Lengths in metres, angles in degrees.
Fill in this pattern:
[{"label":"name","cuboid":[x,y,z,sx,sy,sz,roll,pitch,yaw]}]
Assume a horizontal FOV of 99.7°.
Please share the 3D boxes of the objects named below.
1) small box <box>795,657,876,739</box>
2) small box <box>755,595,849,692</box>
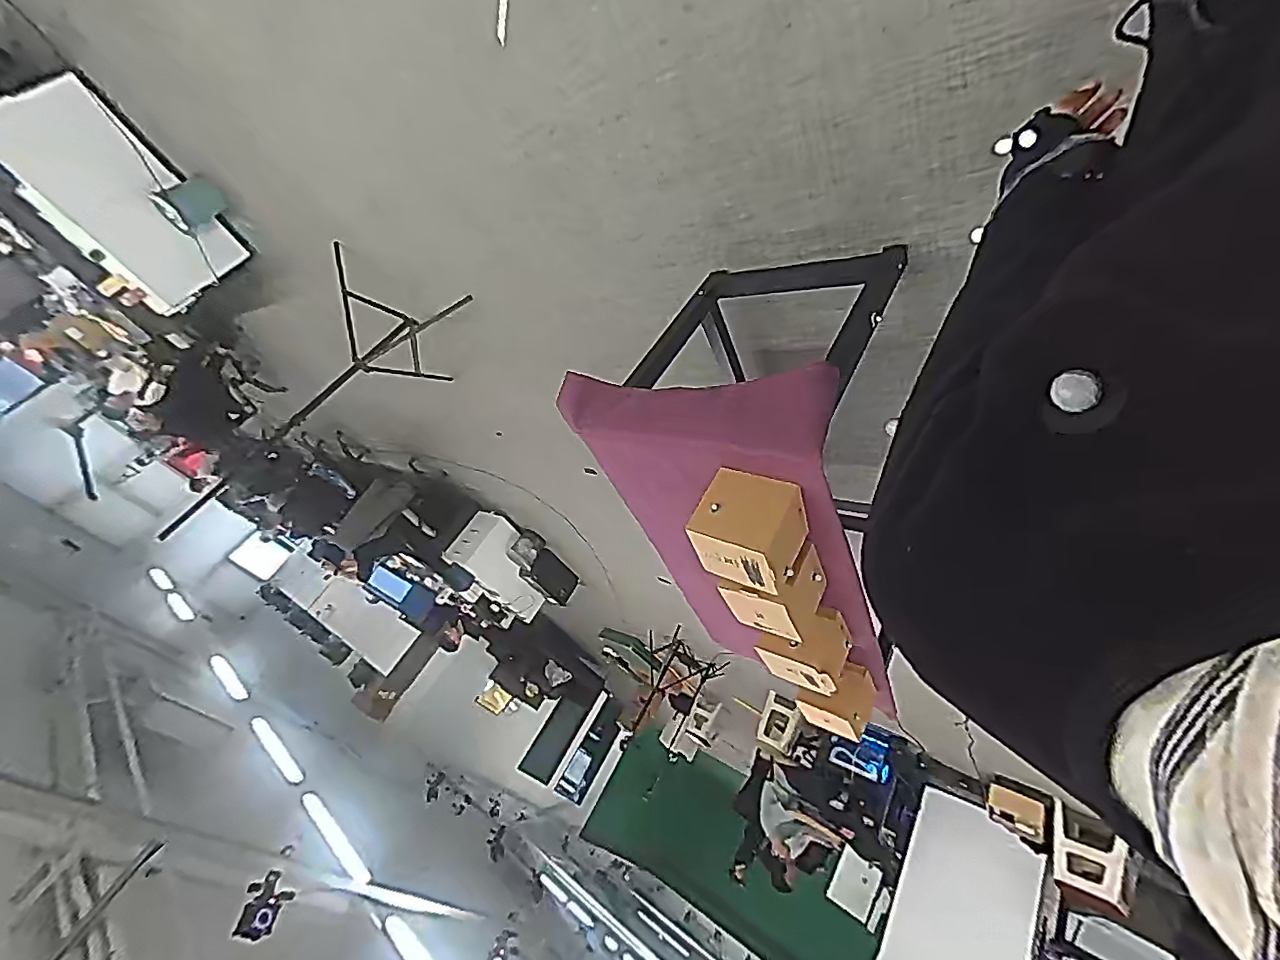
[{"label":"small box","cuboid":[0.594,0.639,1.629,0.168,0.176,0.179,8,144,41]},{"label":"small box","cuboid":[0.438,0.427,1.437,0.179,0.176,0.168,8,144,42]}]
